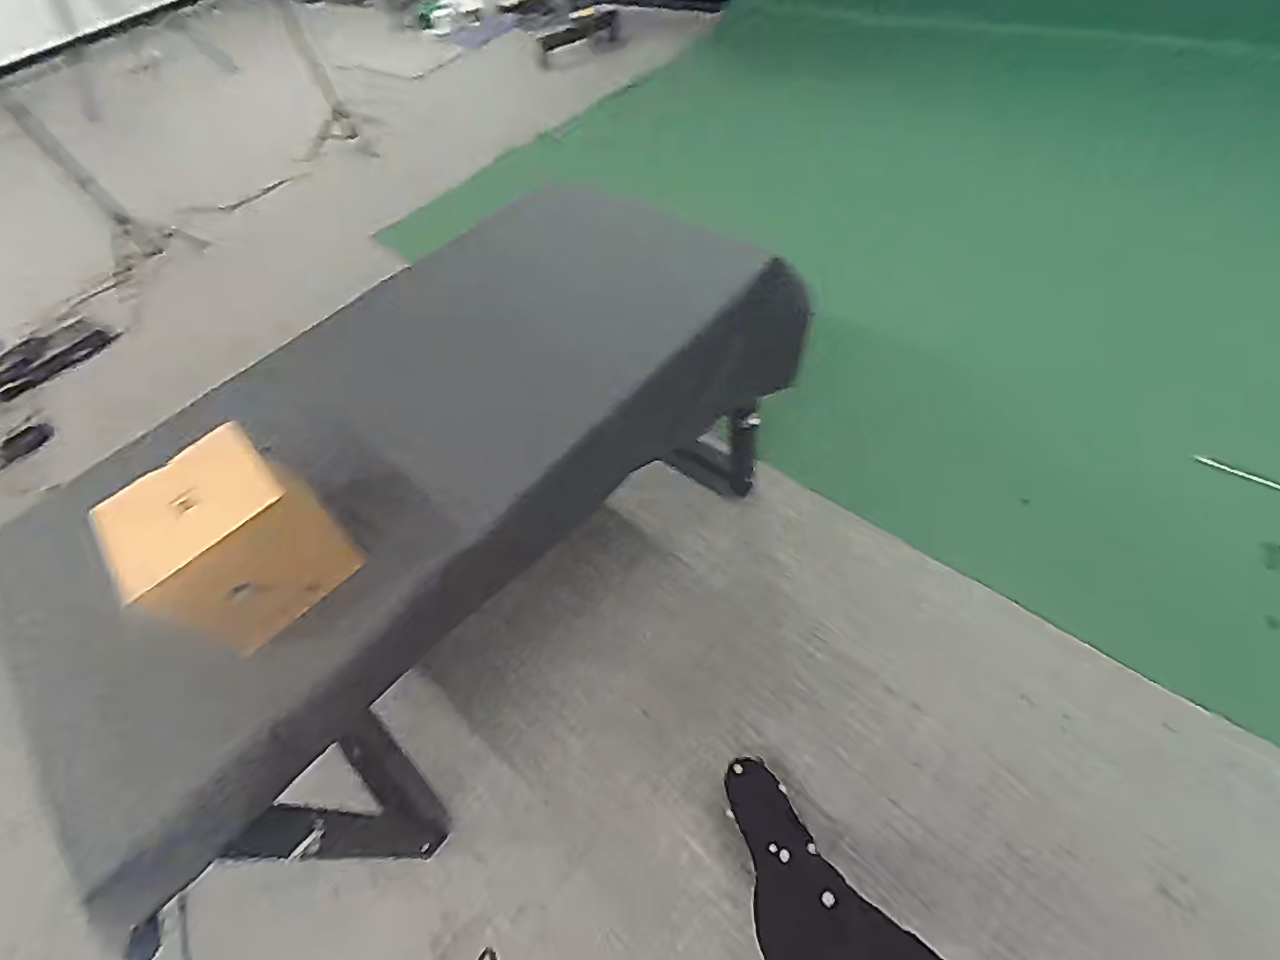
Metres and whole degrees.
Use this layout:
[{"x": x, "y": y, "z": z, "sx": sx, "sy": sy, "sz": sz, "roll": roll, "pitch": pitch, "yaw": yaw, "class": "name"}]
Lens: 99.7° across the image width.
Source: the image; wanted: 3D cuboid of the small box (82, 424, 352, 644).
[{"x": -0.489, "y": 0.072, "z": 0.647, "sx": 0.179, "sy": 0.176, "sz": 0.168, "roll": 35, "pitch": 67, "yaw": 30, "class": "small box"}]
